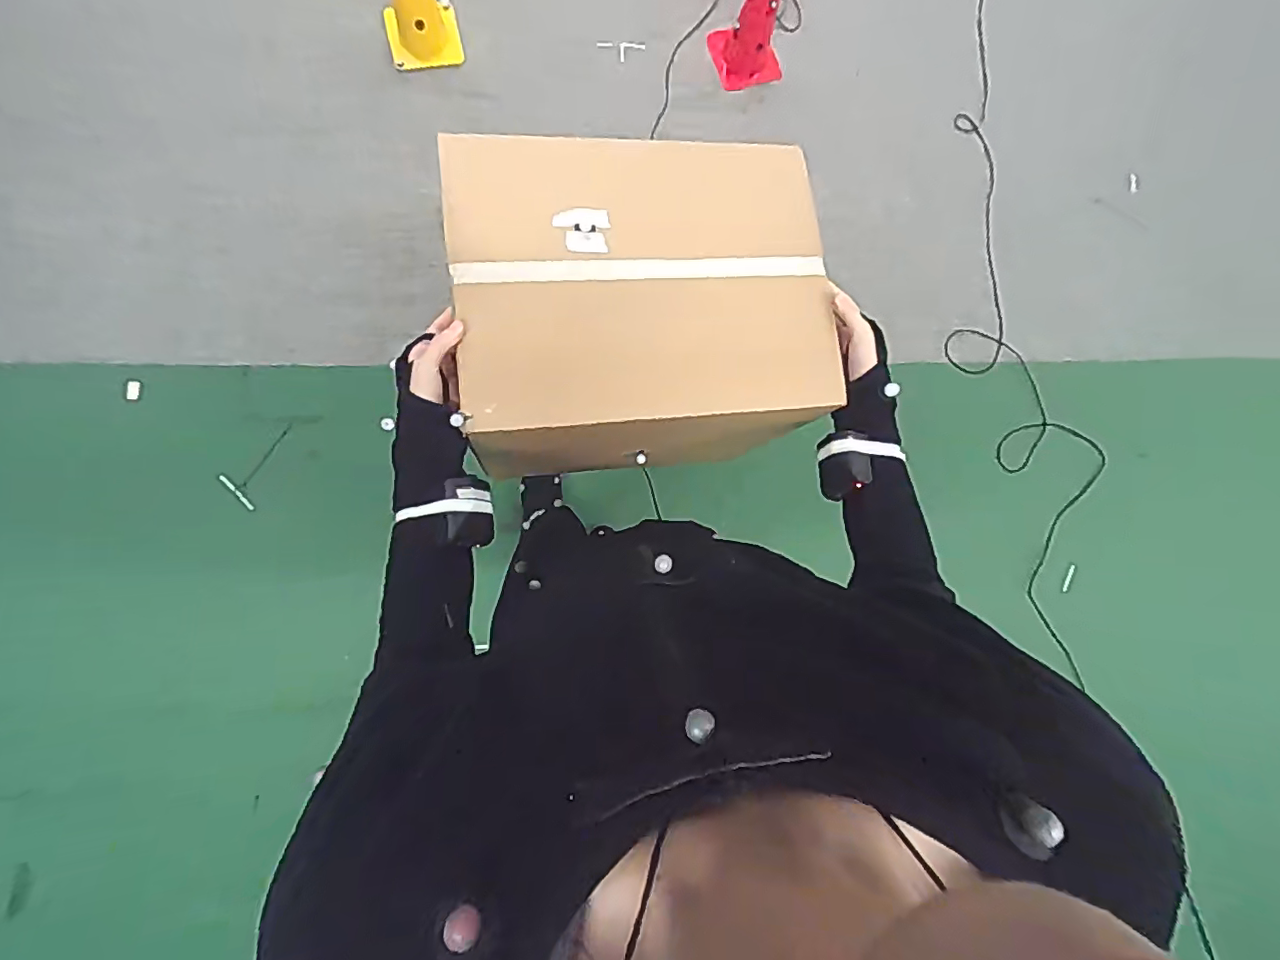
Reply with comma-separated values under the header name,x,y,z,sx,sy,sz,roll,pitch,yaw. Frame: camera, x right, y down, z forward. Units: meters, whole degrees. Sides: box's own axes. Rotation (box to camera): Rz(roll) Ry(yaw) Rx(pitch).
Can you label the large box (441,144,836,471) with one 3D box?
name,x,y,z,sx,sy,sz,roll,pitch,yaw
large box,-0.018,-0.199,0.724,0.408,0.320,0.320,-6,83,-11
